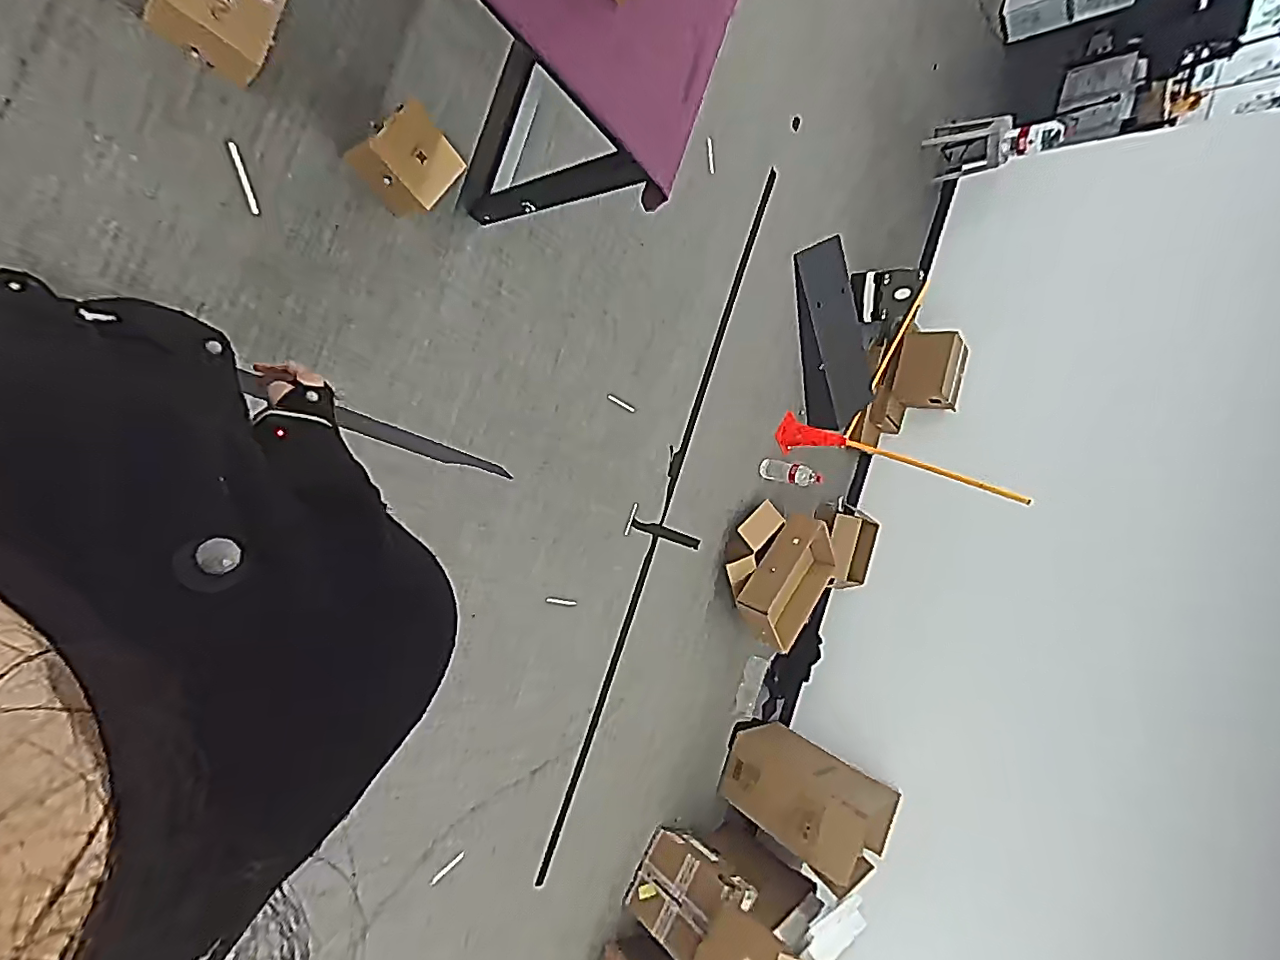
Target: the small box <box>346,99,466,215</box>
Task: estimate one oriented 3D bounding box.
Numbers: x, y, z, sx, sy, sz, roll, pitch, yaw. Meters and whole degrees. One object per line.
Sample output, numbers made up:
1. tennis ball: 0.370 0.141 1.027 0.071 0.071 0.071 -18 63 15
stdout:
1. small box: -0.571 -0.774 1.319 0.179 0.176 0.168 46 69 -41
